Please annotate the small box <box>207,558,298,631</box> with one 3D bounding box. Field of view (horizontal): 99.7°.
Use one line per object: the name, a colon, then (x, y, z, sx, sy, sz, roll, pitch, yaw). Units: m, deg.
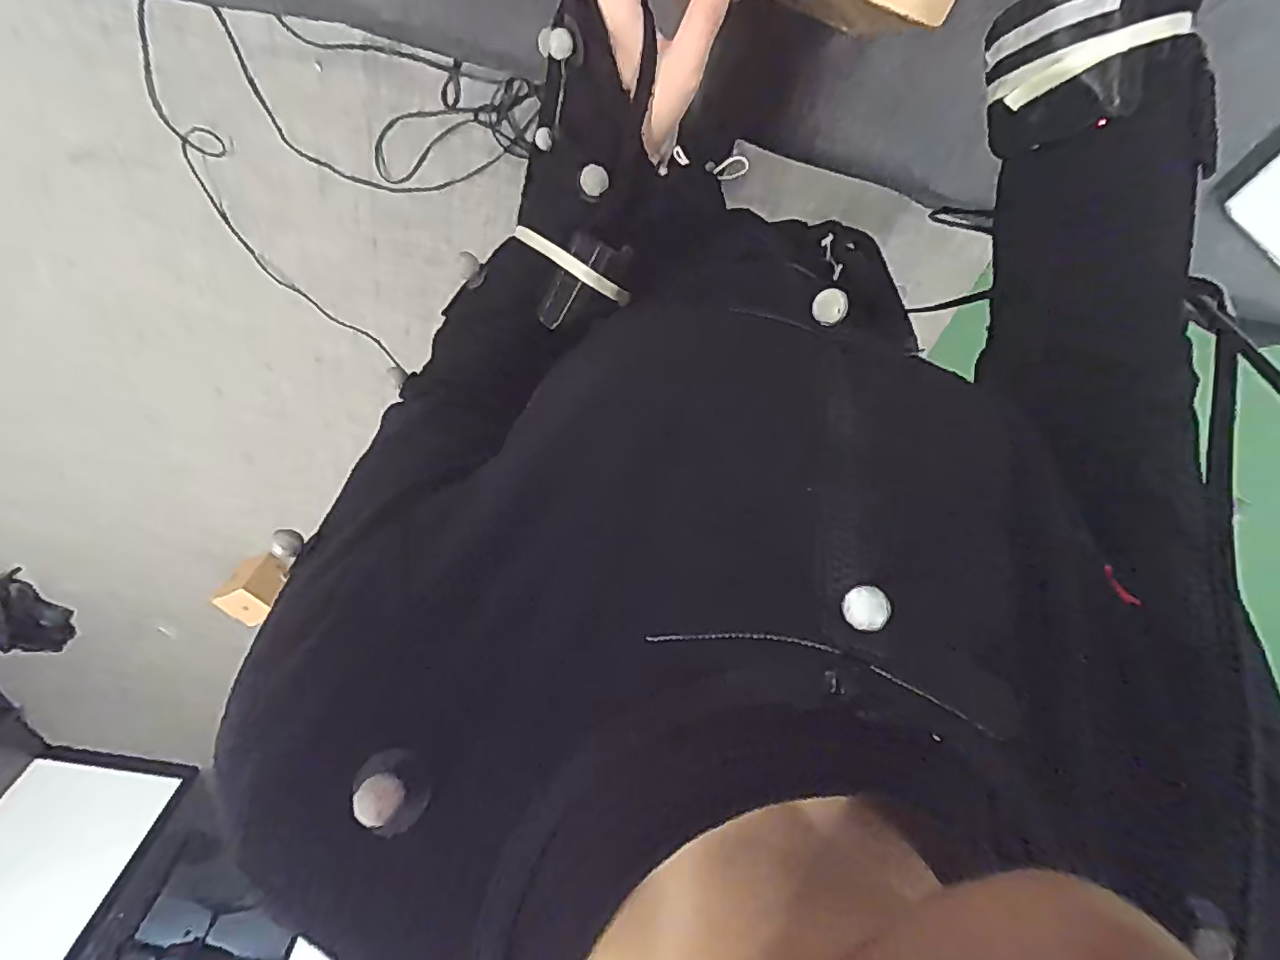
small box: (-1.373, 0.409, 1.931, 0.179, 0.176, 0.168, -21, 126, 19)
